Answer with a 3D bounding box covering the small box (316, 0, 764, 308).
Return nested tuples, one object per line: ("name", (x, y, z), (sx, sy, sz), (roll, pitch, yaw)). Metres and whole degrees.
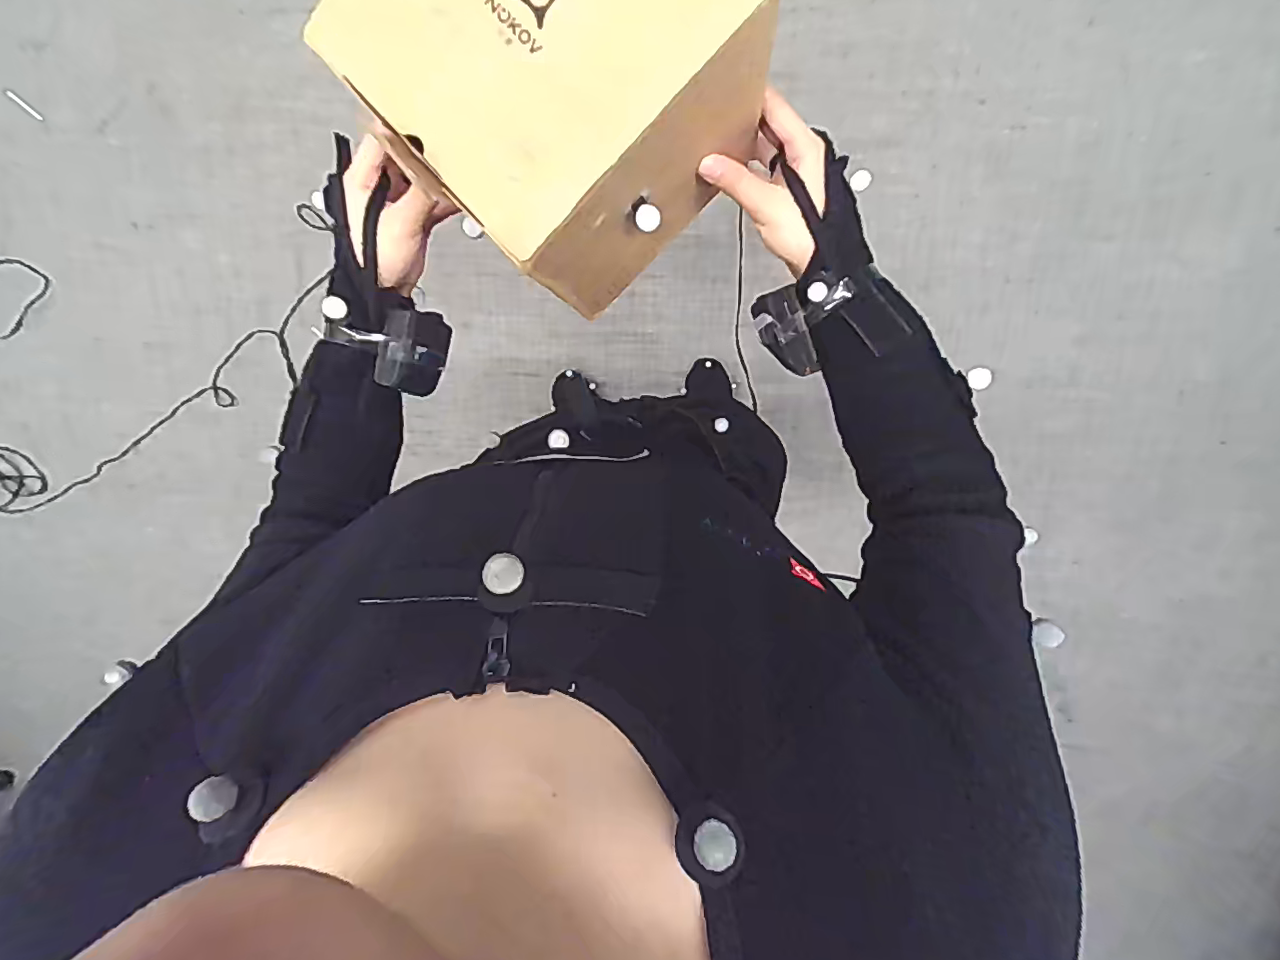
("small box", (-0.043, -0.235, 0.342), (0.179, 0.176, 0.168), (-43, 91, 11))
